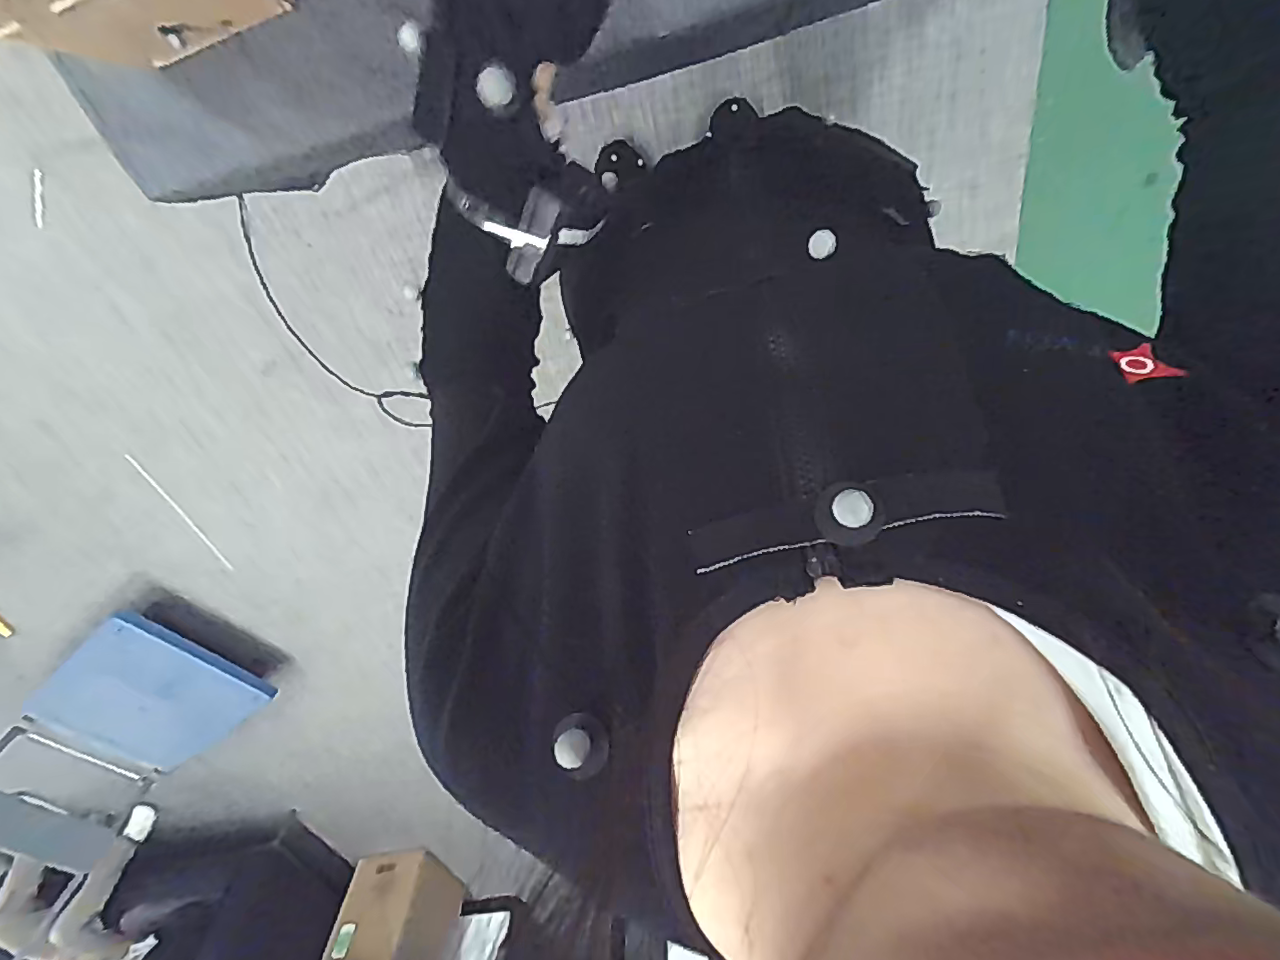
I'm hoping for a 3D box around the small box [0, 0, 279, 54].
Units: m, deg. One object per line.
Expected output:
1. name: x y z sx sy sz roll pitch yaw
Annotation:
1. small box: -0.427 -0.460 0.405 0.168 0.176 0.179 -15 122 9
